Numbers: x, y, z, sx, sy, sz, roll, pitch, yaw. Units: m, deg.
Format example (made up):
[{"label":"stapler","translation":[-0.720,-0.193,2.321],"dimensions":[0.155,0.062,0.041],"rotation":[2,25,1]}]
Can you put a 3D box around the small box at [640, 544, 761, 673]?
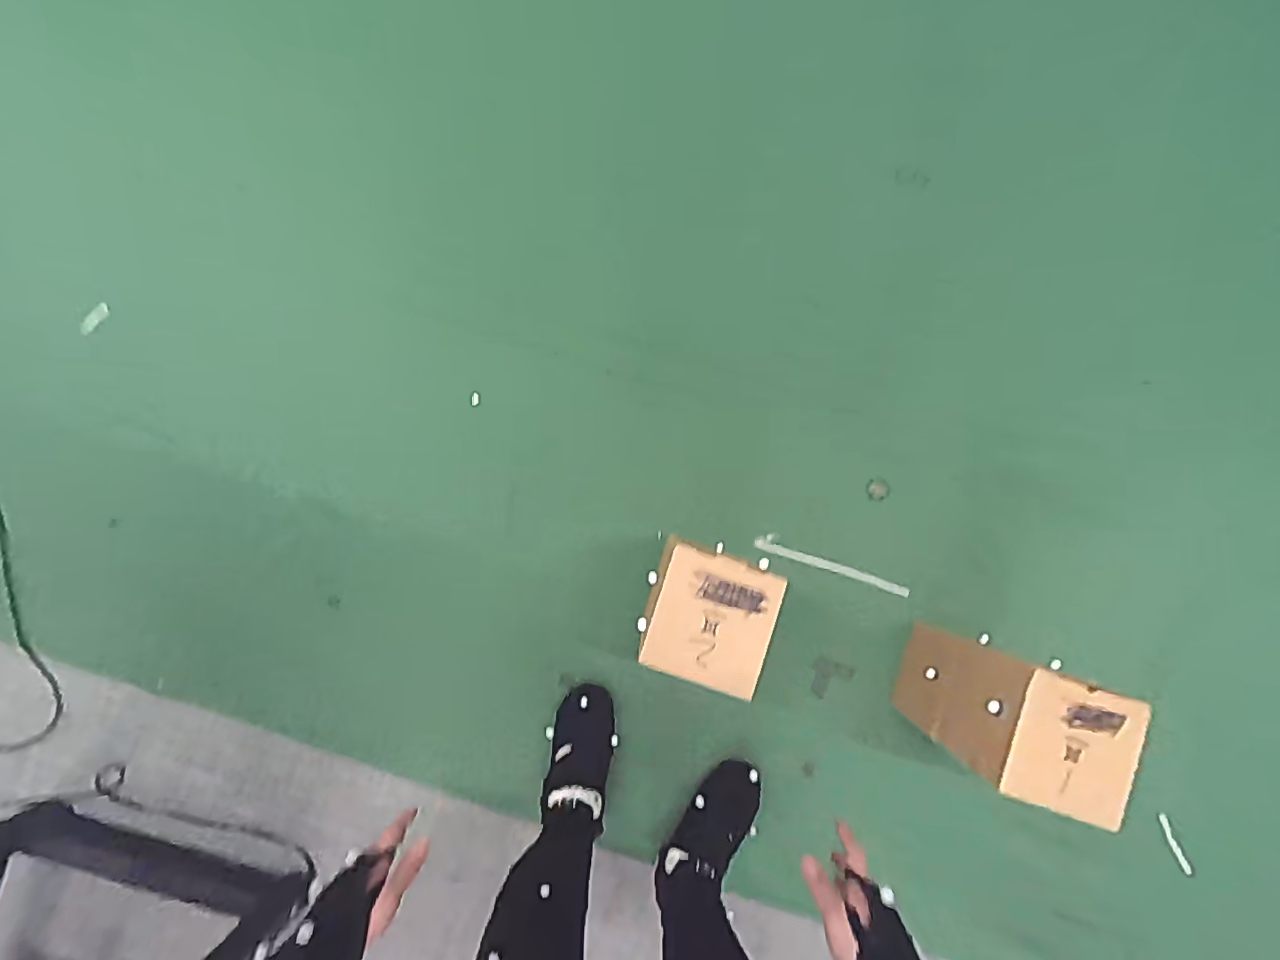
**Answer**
[{"label":"small box","translation":[0.106,0.225,0.994],"dimensions":[0.168,0.176,0.179],"rotation":[18,85,3]}]

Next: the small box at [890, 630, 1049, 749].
[{"label":"small box","translation":[0.581,0.388,0.971],"dimensions":[0.168,0.176,0.179],"rotation":[19,86,2]}]

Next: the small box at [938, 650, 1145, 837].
[{"label":"small box","translation":[0.581,0.375,0.808],"dimensions":[0.168,0.176,0.179],"rotation":[19,86,2]}]
